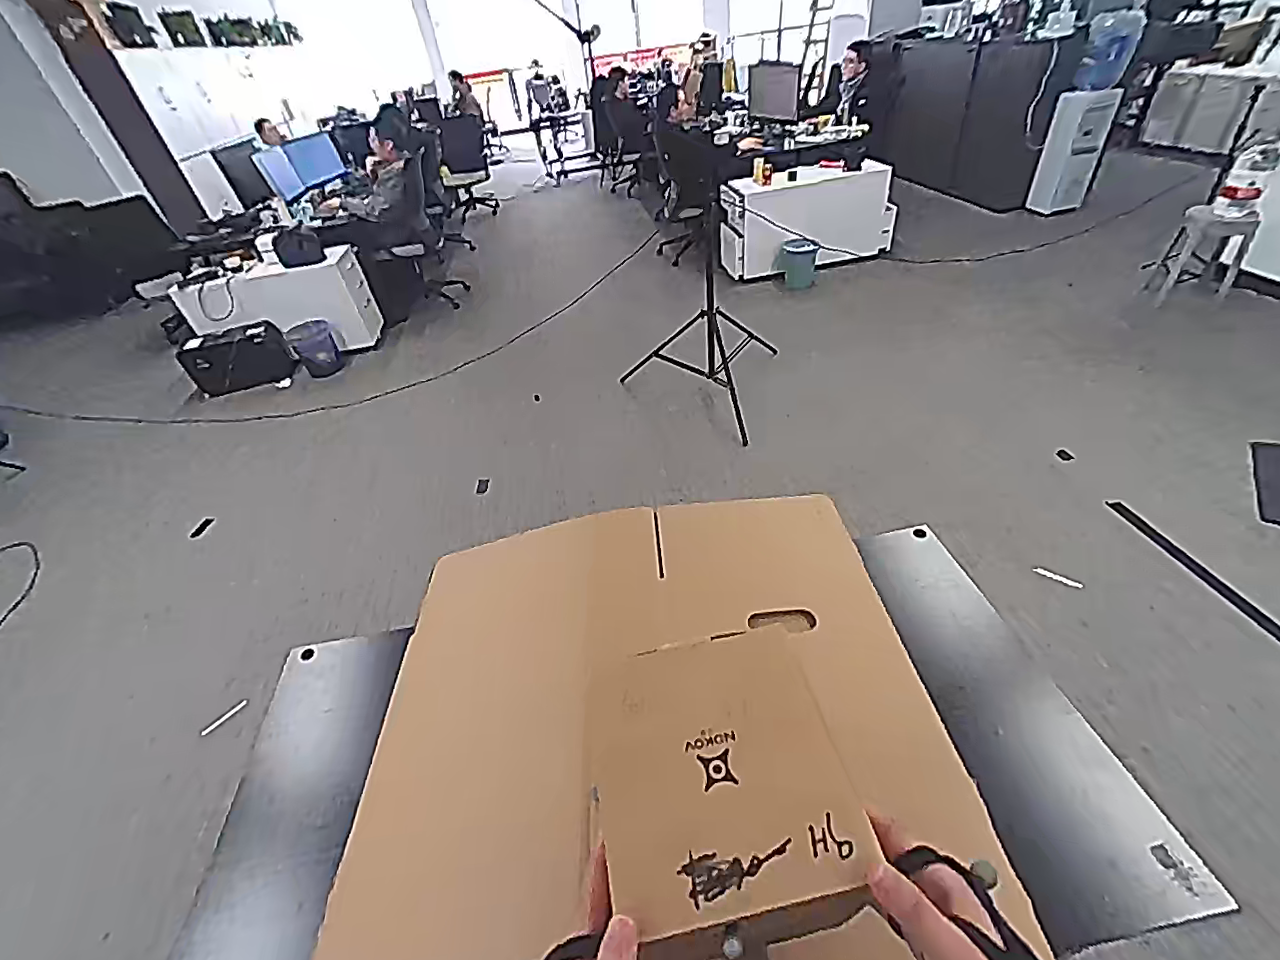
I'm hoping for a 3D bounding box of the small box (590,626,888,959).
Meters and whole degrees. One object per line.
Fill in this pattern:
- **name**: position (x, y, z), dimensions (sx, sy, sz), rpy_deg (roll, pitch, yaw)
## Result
- **small box**: position (0.060, 0.248, 0.427), dimensions (0.168, 0.176, 0.179), rpy_deg (-12, 43, -3)
